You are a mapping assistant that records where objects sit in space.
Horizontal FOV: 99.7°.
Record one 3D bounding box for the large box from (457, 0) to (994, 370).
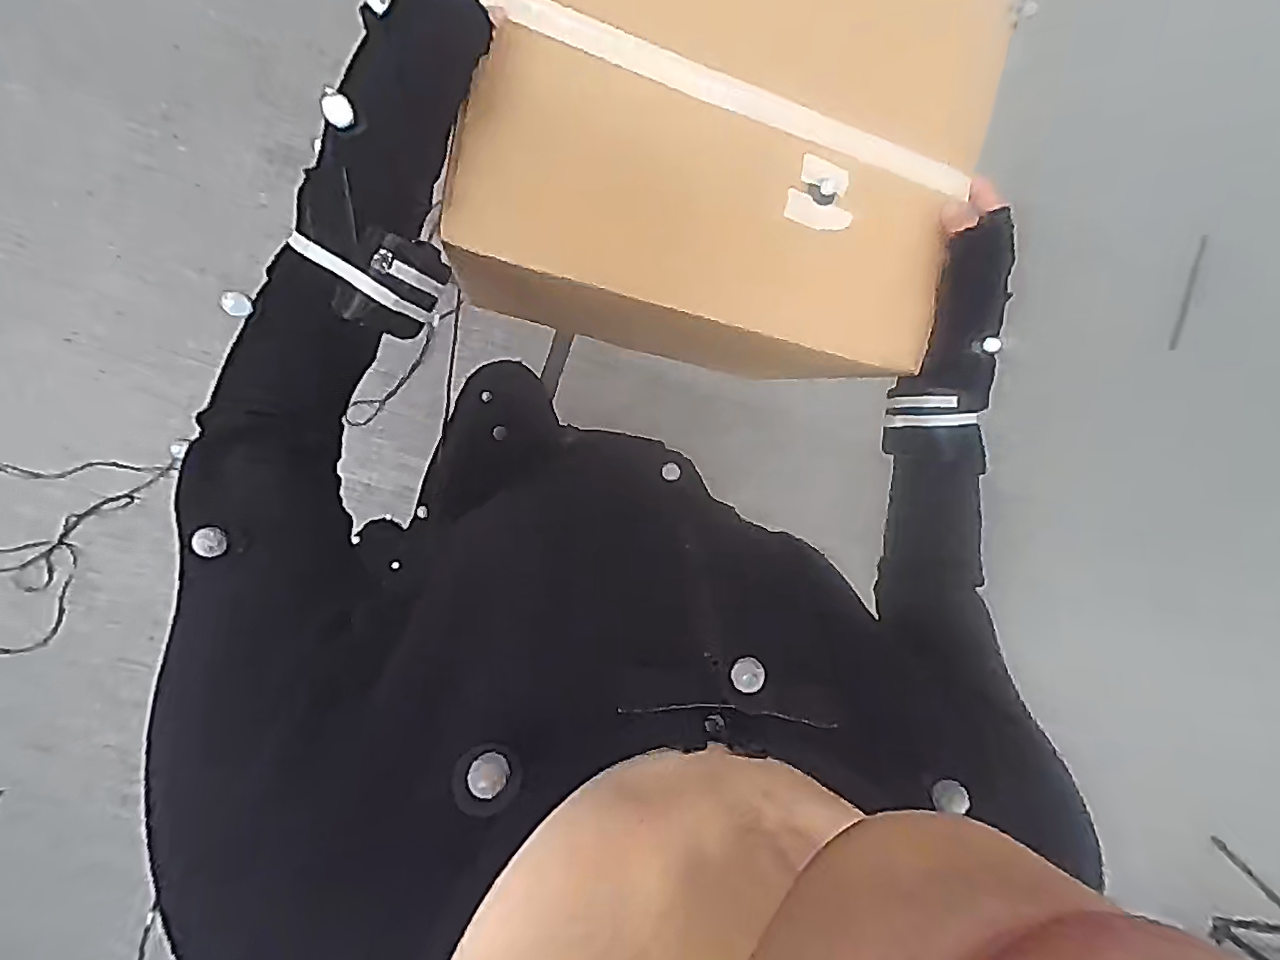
[{"bbox_3d":[0.046,-0.313,0.561,0.408,0.320,0.320,11,97,-17],"label":"large box"}]
